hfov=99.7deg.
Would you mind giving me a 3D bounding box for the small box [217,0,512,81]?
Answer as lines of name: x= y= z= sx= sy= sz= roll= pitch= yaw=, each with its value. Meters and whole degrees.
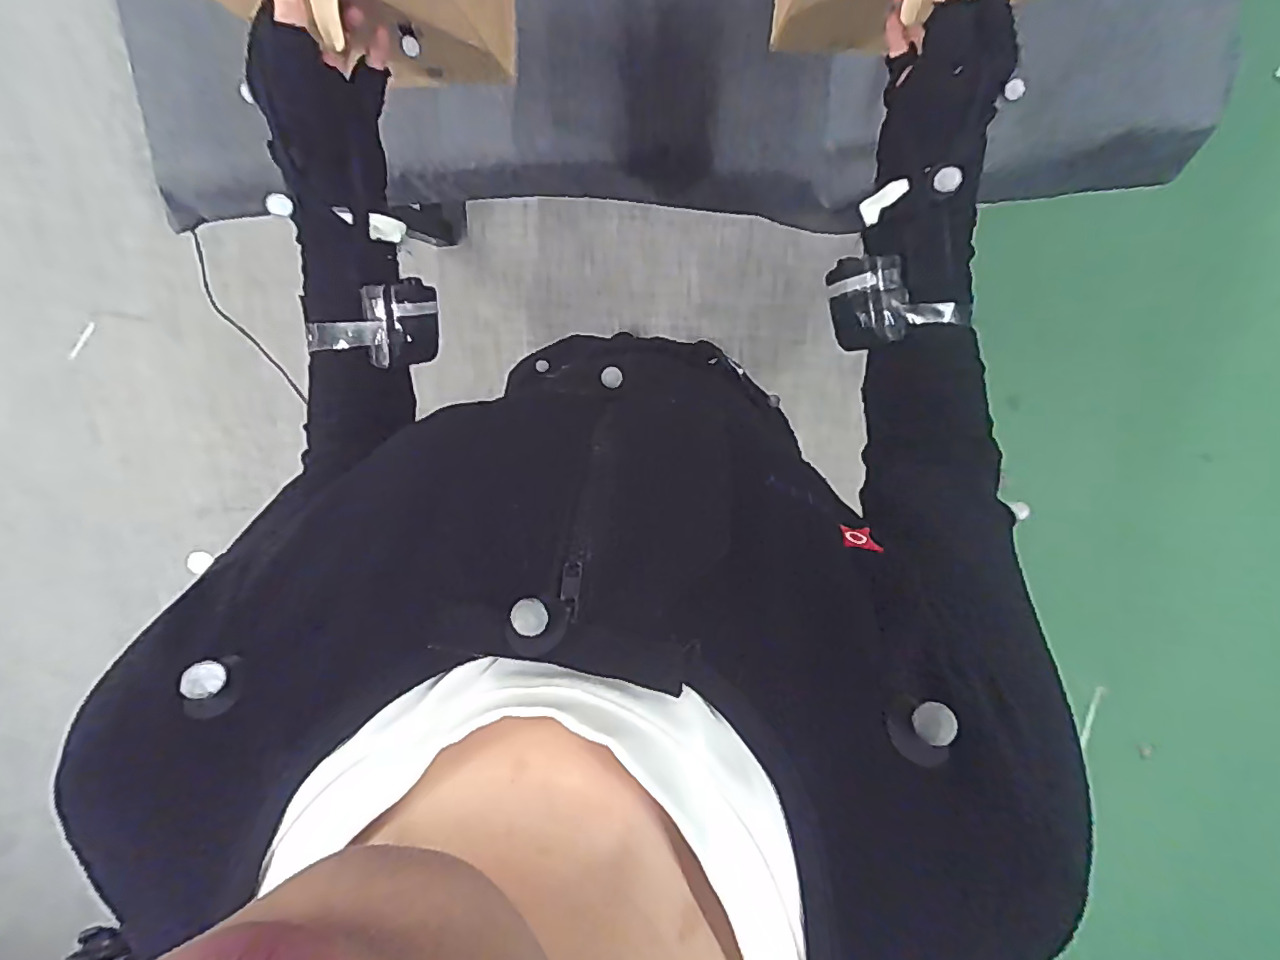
small box: x=-0.195 y=-0.406 z=0.371 sx=0.168 sy=0.176 sz=0.179 roll=4 pitch=104 yaw=7
